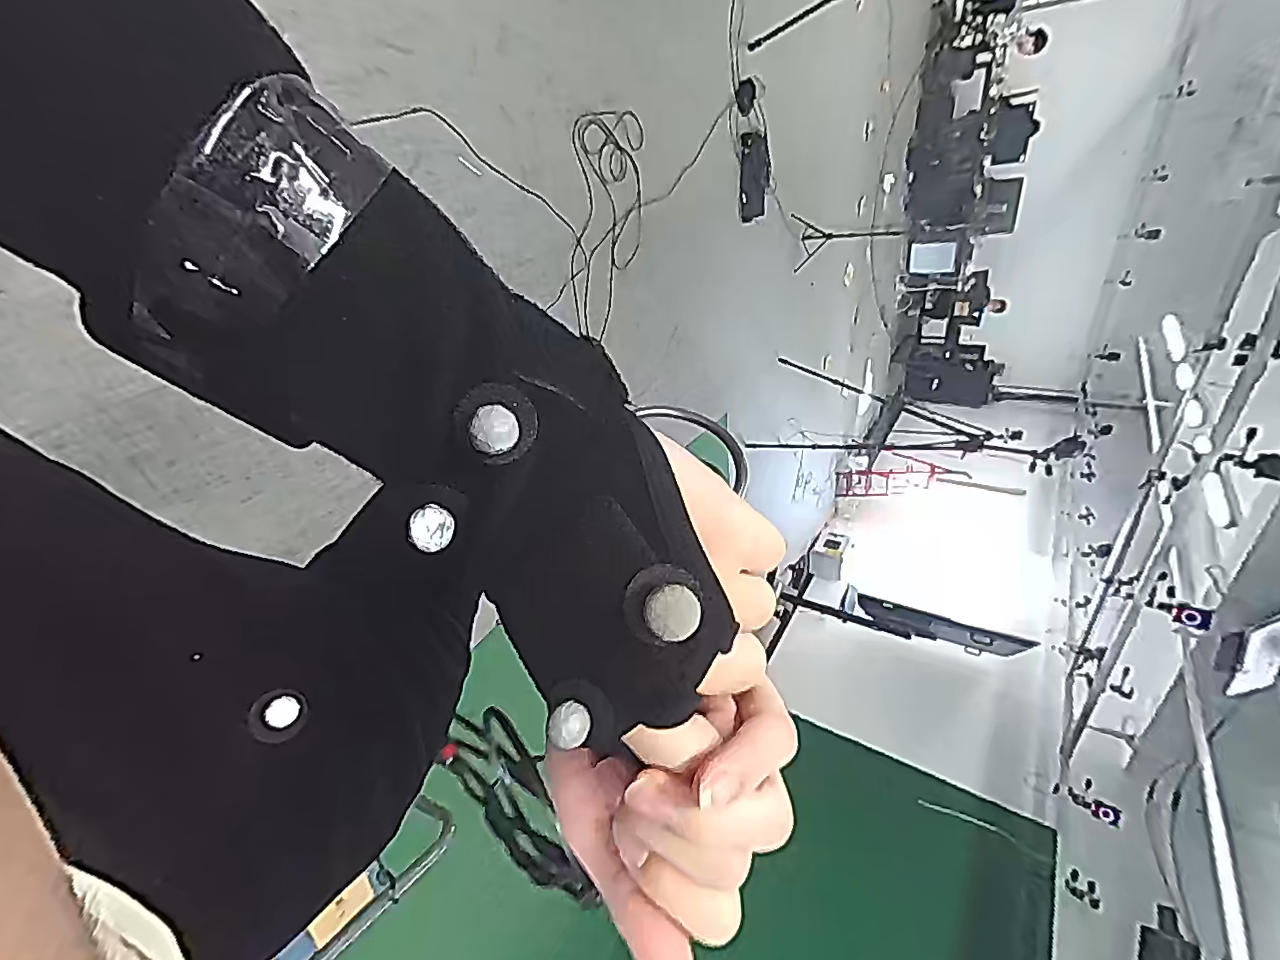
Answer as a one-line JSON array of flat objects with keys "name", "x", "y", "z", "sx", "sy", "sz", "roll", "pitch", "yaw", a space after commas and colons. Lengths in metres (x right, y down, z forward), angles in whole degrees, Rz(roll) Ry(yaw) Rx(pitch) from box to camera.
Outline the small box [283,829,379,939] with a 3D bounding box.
[{"name": "small box", "x": -0.906, "y": 1.168, "z": 1.583, "sx": 0.168, "sy": 0.176, "sz": 0.179, "roll": -32, "pitch": 127, "yaw": -47}]
